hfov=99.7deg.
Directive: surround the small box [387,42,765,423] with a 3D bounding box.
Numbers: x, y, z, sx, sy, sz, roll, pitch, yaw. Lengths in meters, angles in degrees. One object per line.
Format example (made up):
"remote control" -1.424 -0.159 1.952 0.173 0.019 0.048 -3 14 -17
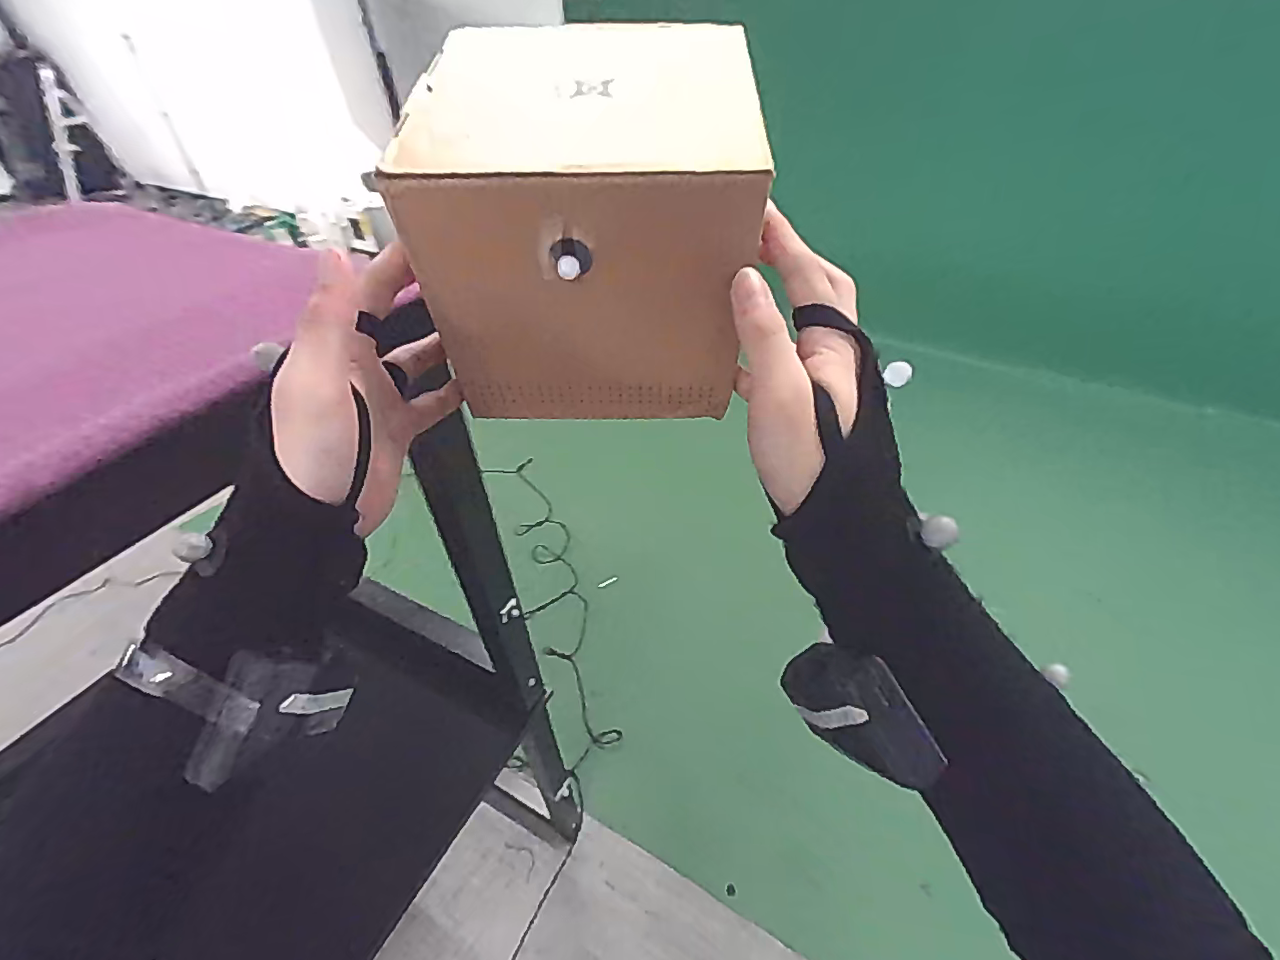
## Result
"small box" -0.024 -0.151 0.352 0.179 0.176 0.168 2 56 2
